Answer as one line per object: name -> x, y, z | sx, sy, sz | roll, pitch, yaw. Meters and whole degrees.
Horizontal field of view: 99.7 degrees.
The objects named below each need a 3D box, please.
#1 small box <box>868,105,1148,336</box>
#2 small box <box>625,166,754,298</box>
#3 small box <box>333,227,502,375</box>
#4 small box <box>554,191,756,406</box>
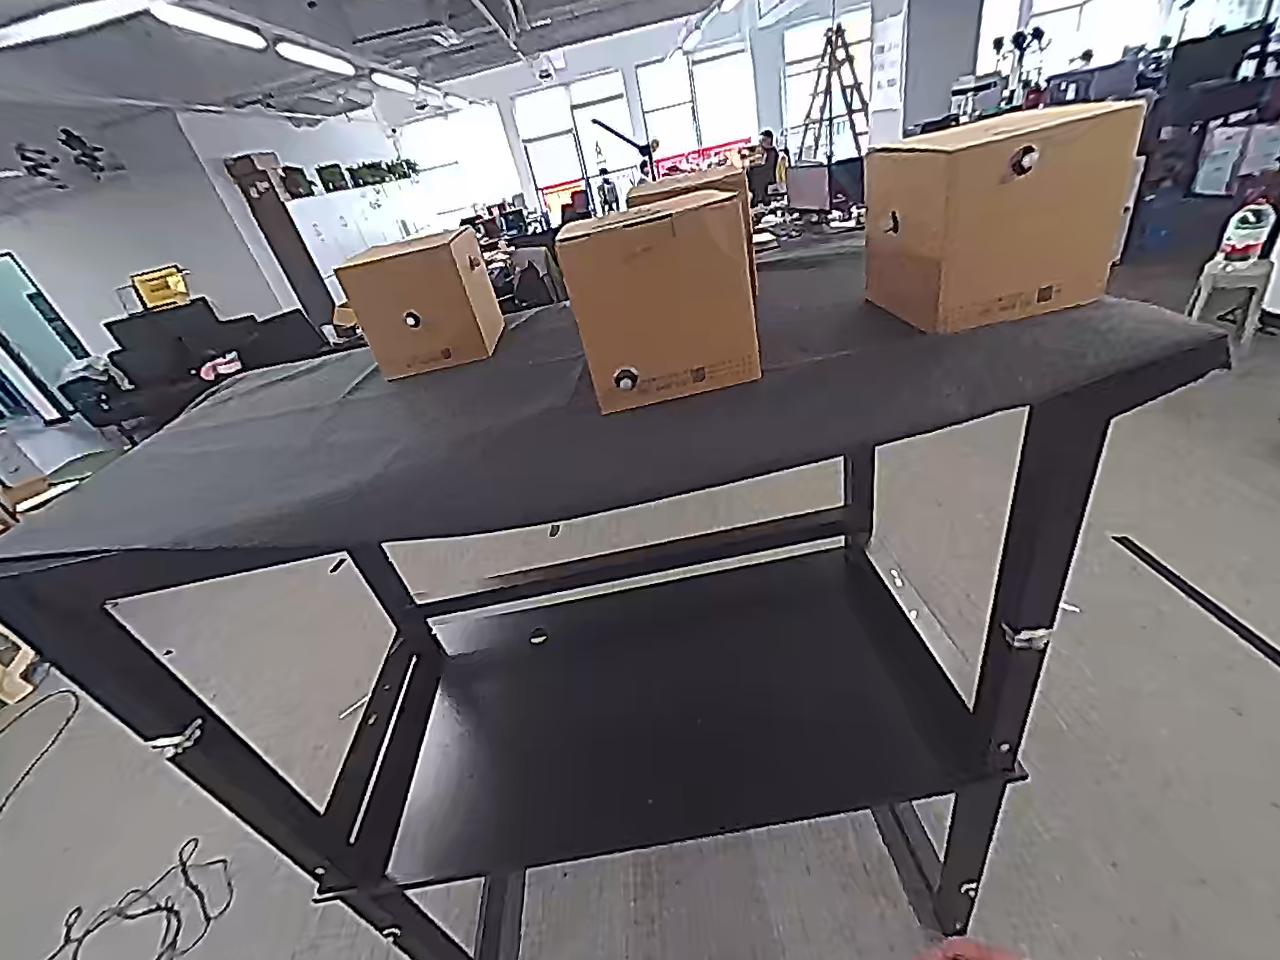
small box -> 0.350, -0.263, 0.560 | 0.168, 0.176, 0.179 | -13, 31, 3
small box -> 0.077, -0.362, 0.826 | 0.168, 0.176, 0.179 | -8, 32, 7
small box -> -0.326, -0.273, 0.837 | 0.168, 0.176, 0.179 | -12, 32, 2
small box -> 0.018, -0.189, 0.571 | 0.168, 0.176, 0.179 | -12, 29, 4
